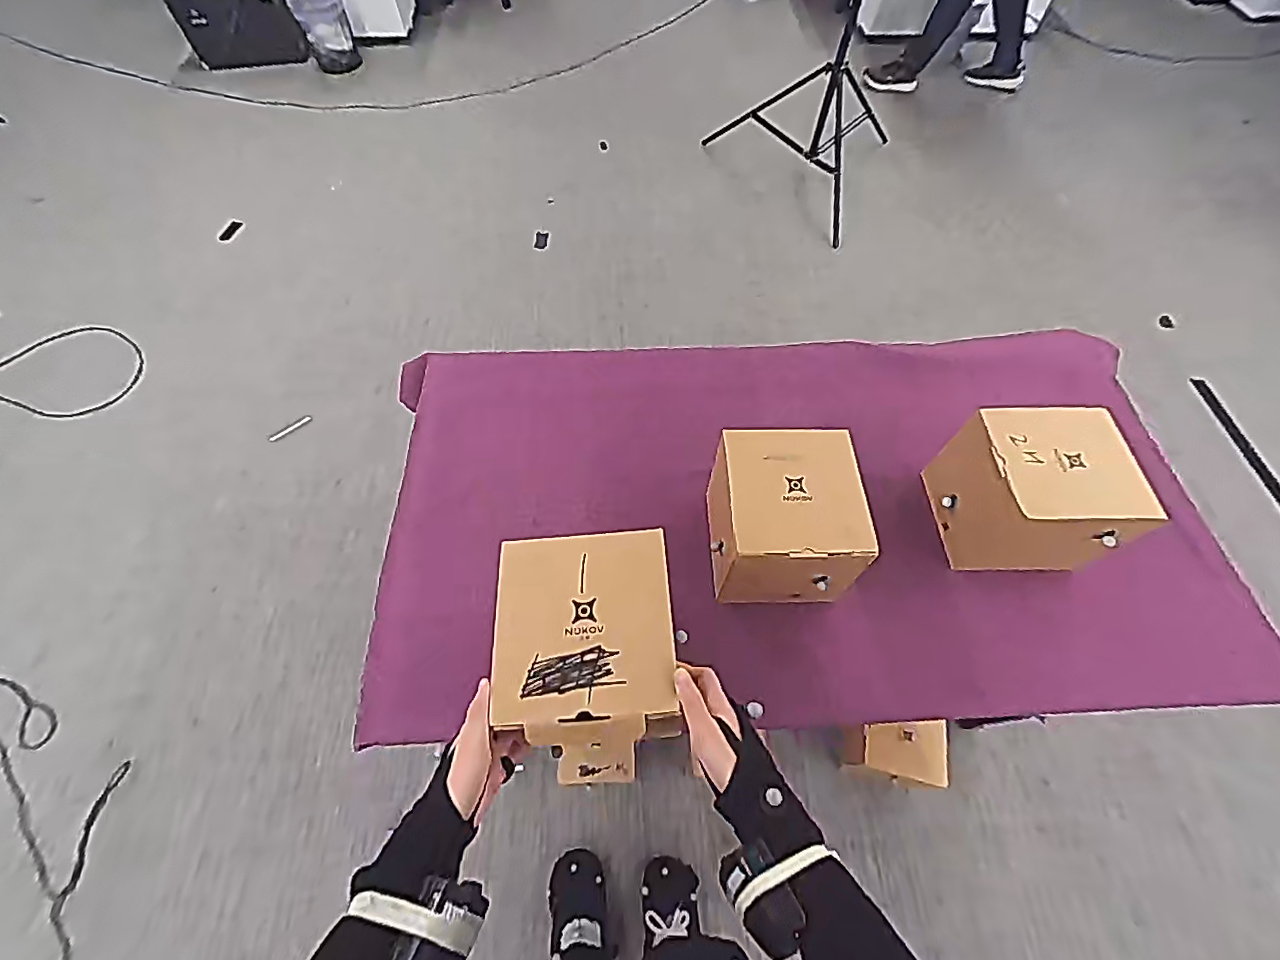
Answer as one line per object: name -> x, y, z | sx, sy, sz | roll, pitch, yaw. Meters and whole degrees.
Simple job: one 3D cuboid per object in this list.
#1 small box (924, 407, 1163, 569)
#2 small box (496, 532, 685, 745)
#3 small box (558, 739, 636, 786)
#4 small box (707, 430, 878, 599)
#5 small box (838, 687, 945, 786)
small box -> 0.532, 0.016, 0.745 | 0.179, 0.176, 0.168 | -1, 59, -1
small box -> -0.042, 0.173, 0.566 | 0.168, 0.176, 0.179 | -5, 58, 0
small box -> -0.093, 0.599, 1.242 | 0.168, 0.176, 0.179 | 0, 59, -1
small box -> 0.186, 0.053, 0.720 | 0.168, 0.176, 0.179 | -1, 58, -2
small box -> 0.580, 0.596, 1.256 | 0.179, 0.176, 0.168 | 12, 61, 7
